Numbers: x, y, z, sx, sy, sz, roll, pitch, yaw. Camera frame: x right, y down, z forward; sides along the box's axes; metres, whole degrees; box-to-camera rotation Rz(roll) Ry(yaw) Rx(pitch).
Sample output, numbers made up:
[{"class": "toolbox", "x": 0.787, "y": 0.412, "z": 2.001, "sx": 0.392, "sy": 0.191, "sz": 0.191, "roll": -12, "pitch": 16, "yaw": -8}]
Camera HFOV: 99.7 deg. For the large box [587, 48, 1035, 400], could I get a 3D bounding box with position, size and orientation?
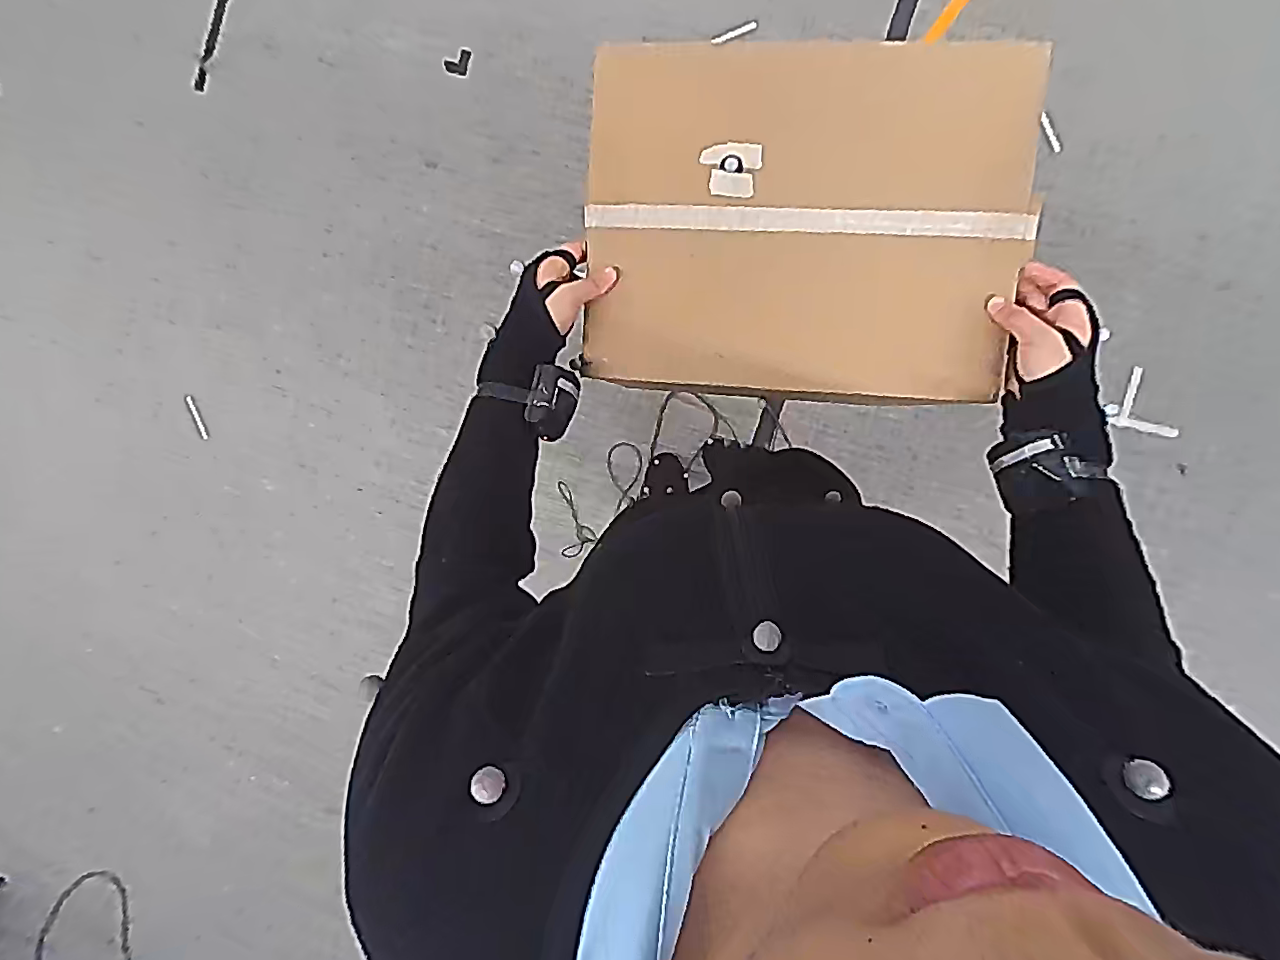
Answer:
[{"class": "large box", "x": 0.170, "y": -0.264, "z": 0.669, "sx": 0.408, "sy": 0.320, "sz": 0.320, "roll": 5, "pitch": 96, "yaw": 7}]
